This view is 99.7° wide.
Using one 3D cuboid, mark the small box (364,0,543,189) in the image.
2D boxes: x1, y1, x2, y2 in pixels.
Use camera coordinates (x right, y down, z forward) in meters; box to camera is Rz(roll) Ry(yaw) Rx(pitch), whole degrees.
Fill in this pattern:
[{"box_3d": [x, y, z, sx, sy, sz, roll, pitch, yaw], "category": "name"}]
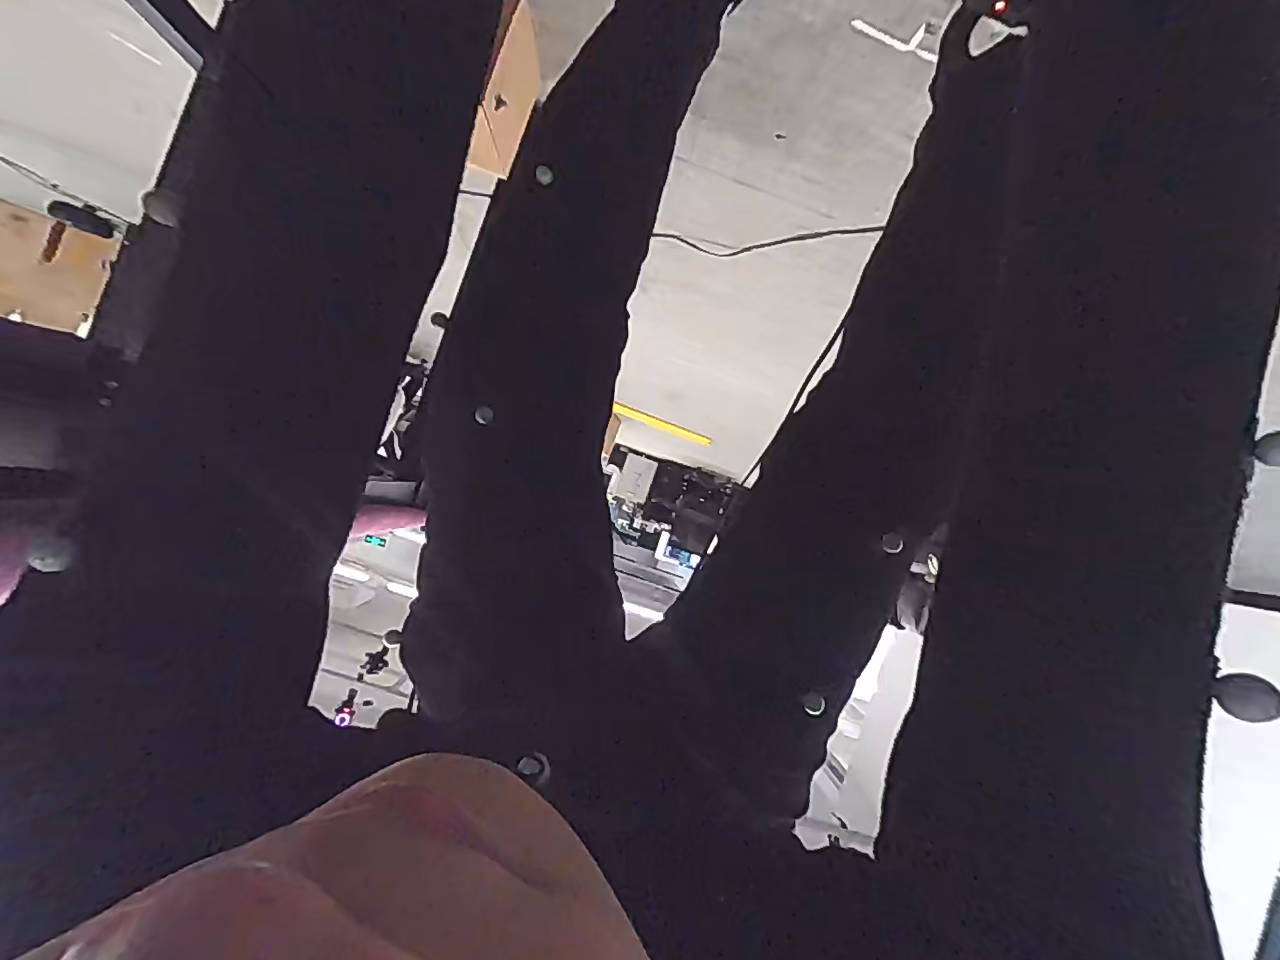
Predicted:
[{"box_3d": [-0.249, -0.565, 0.769, 0.168, 0.176, 0.179, 19, 177, -2], "category": "small box"}]
